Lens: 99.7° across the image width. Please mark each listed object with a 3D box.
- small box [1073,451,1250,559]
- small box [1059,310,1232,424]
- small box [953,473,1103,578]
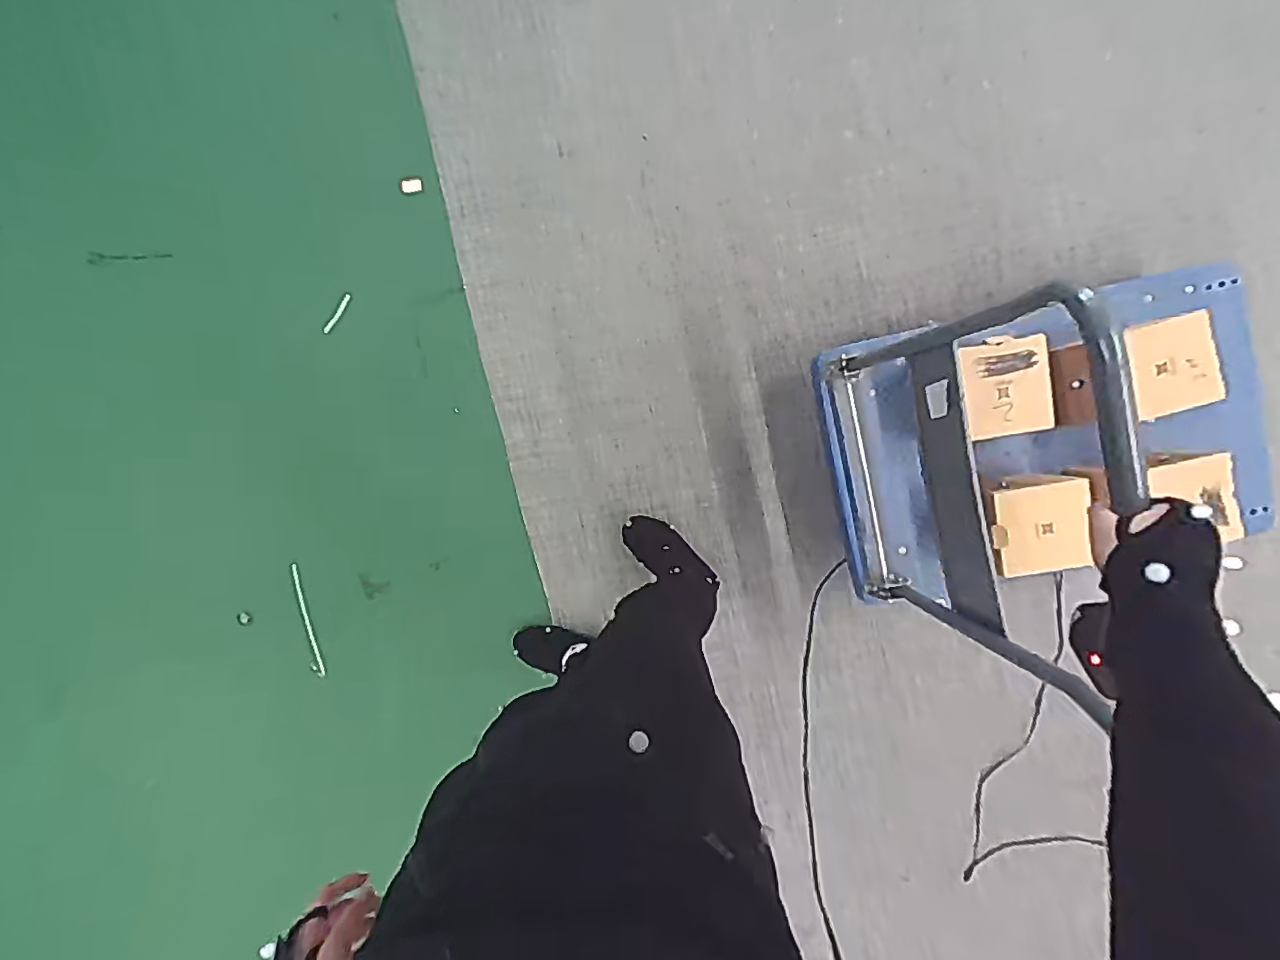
[{"bbox_3d":[1.008,0.041,1.058,0.179,0.176,0.168,-13,93,5],"label":"small box"},{"bbox_3d":[0.954,-0.207,1.041,0.179,0.176,0.168,-15,94,5],"label":"small box"},{"bbox_3d":[0.764,0.084,1.079,0.179,0.176,0.168,-10,94,5],"label":"small box"}]
